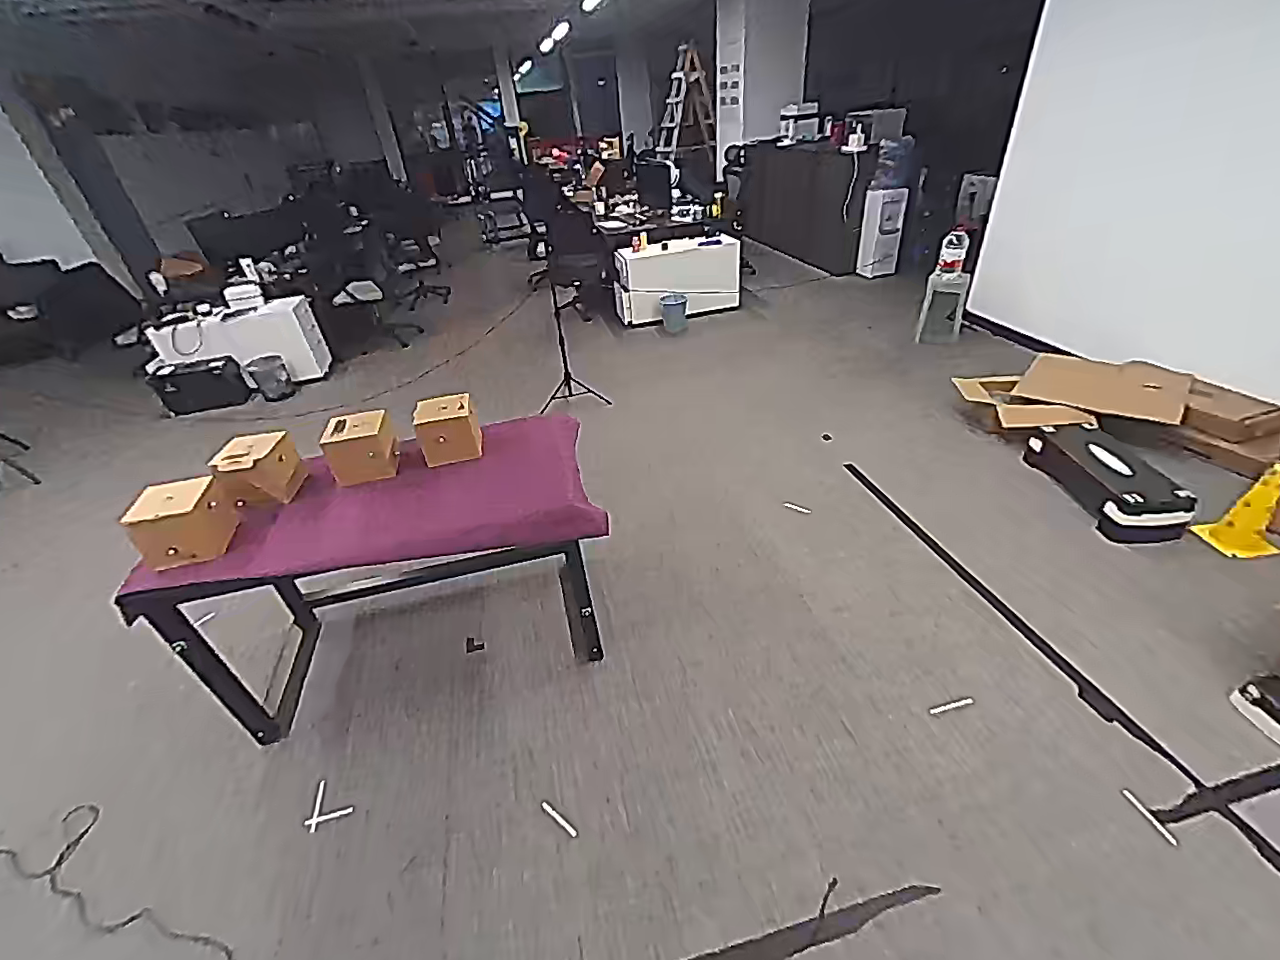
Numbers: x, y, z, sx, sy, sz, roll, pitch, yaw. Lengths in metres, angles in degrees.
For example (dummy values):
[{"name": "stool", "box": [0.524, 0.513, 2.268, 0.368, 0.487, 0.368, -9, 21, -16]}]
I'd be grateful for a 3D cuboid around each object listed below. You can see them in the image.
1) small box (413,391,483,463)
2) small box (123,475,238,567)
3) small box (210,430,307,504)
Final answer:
[{"name": "small box", "box": [-0.638, -0.174, 1.818, 0.179, 0.176, 0.168, -12, 38, -7]}, {"name": "small box", "box": [-1.260, 0.113, 1.501, 0.168, 0.176, 0.179, -12, 36, -12]}, {"name": "small box", "box": [-1.189, -0.035, 1.705, 0.168, 0.176, 0.179, -8, 35, -4]}]
